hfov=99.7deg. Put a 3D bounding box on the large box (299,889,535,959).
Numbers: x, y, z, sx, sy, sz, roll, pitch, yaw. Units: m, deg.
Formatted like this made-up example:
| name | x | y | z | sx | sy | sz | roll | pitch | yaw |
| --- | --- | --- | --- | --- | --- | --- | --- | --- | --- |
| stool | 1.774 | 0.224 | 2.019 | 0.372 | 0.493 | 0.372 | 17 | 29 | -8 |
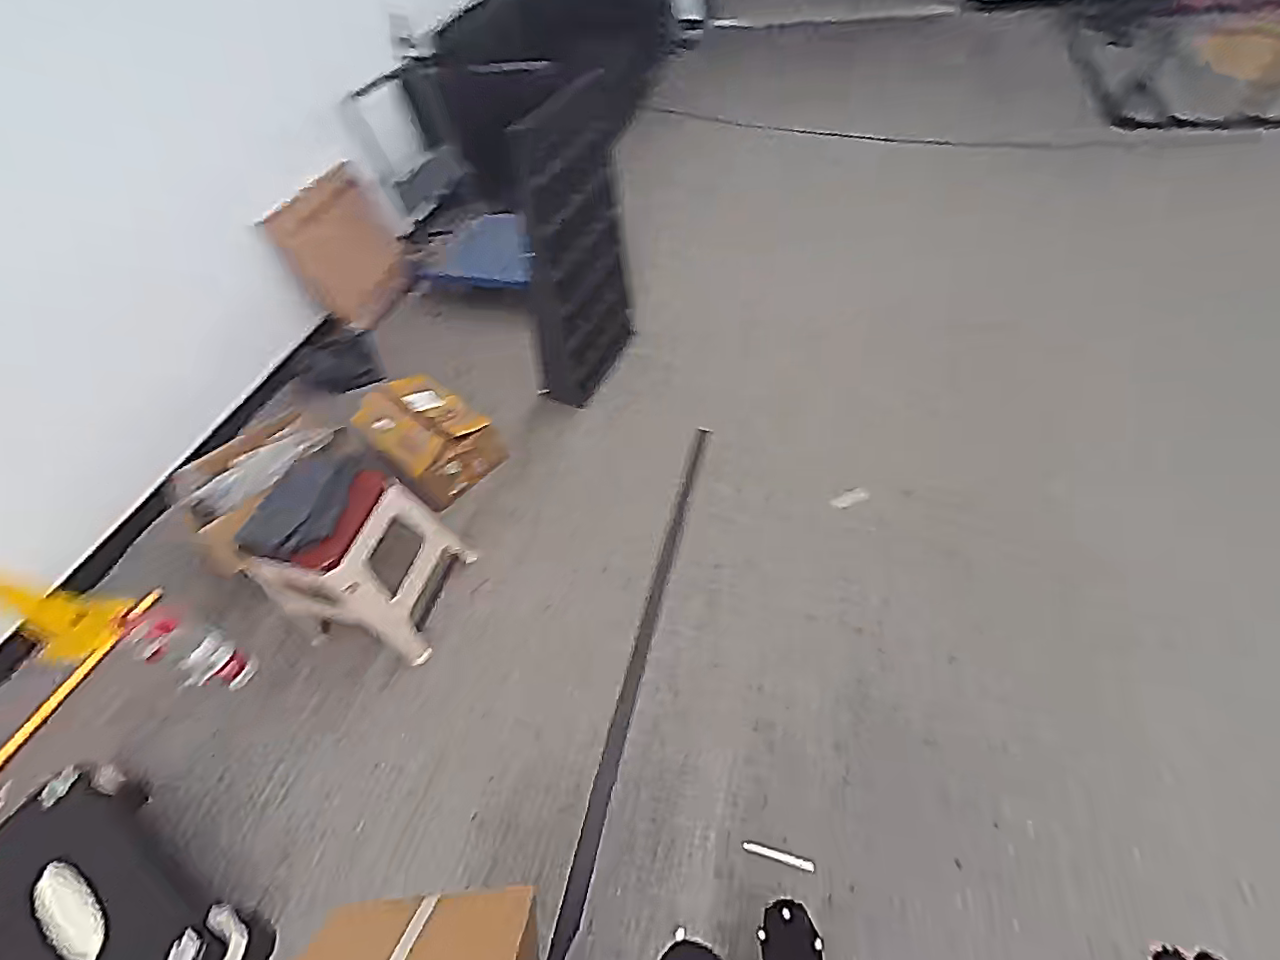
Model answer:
| name | x | y | z | sx | sy | sz | roll | pitch | yaw |
| --- | --- | --- | --- | --- | --- | --- | --- | --- | --- |
| large box | -0.304 | 0.785 | 0.645 | 0.320 | 0.408 | 0.320 | -5 | 83 | -1 |
